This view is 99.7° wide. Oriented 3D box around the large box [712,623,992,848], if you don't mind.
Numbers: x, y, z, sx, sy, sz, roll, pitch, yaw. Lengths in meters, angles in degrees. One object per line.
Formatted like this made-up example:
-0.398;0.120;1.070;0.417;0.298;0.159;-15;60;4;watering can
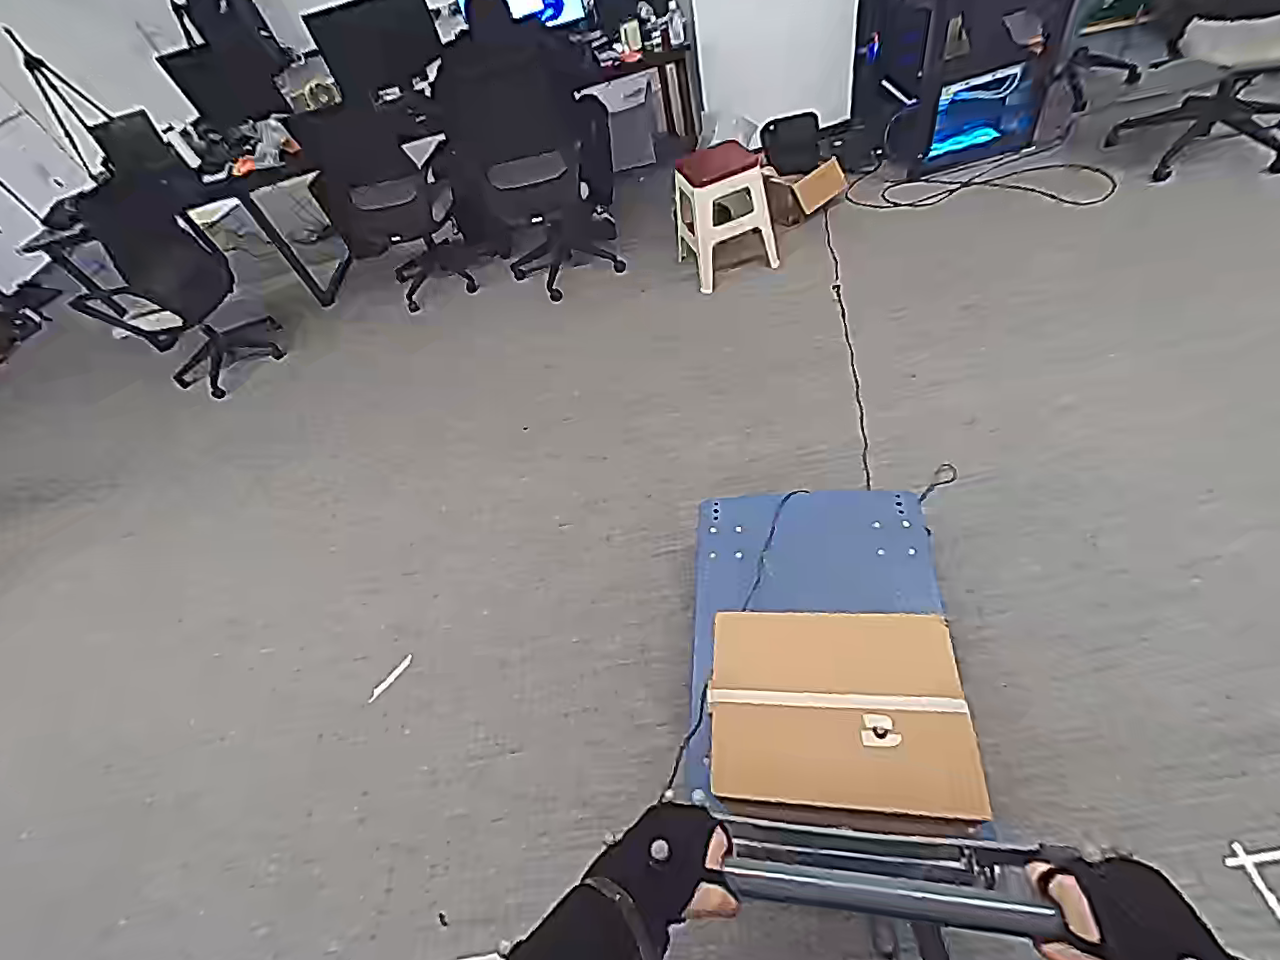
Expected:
0.349;0.473;1.006;0.408;0.320;0.320;-2;54;14;large box
